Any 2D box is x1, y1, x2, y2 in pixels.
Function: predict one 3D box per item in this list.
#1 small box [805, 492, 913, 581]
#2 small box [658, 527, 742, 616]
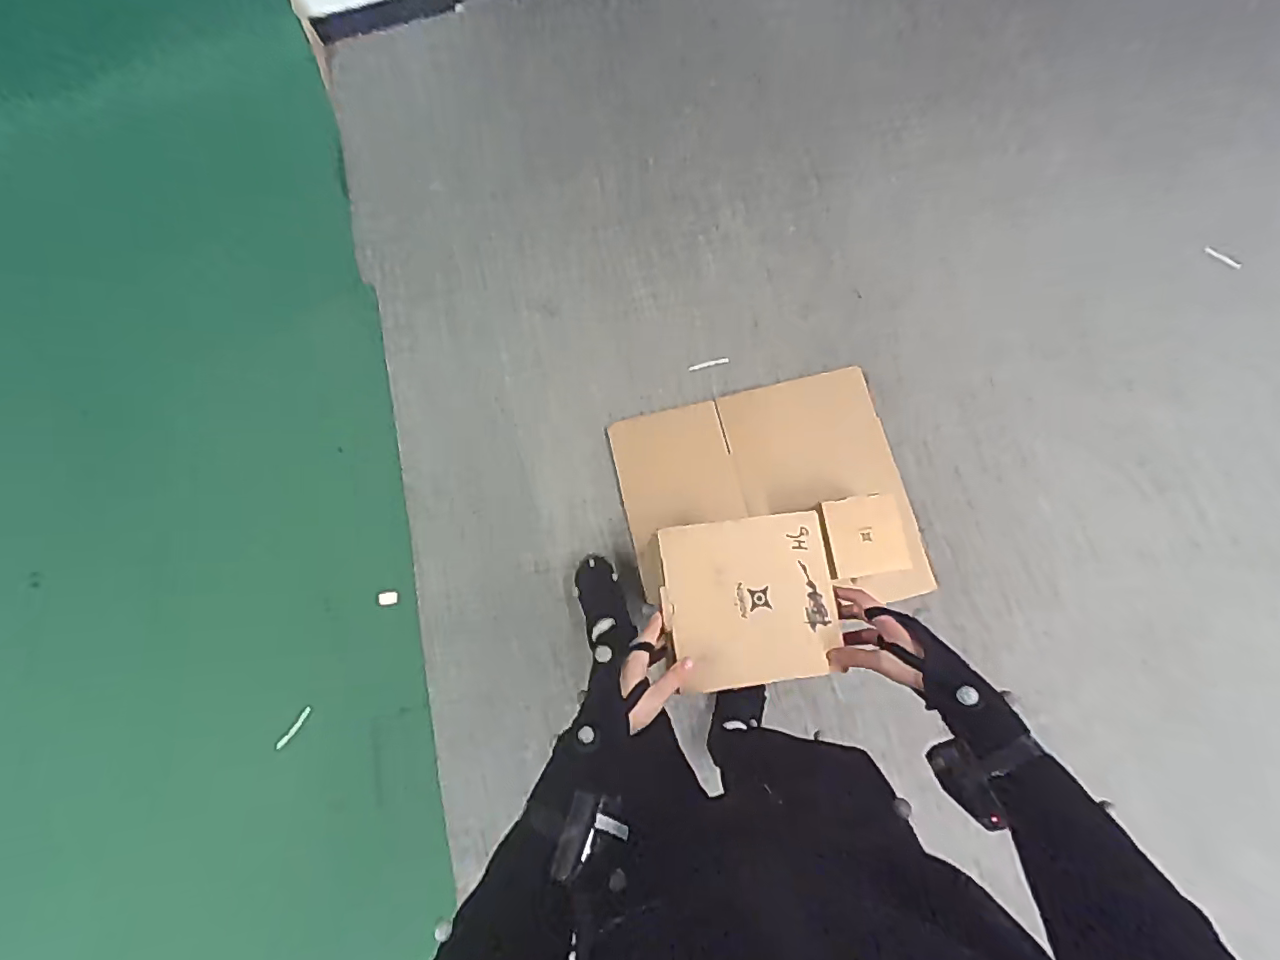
[{"bbox_3d":[0.498,0.137,1.256,0.168,0.176,0.179,-9,77,0],"label":"small box"},{"bbox_3d":[0.136,0.213,1.258,0.168,0.176,0.179,-8,78,0],"label":"small box"}]
